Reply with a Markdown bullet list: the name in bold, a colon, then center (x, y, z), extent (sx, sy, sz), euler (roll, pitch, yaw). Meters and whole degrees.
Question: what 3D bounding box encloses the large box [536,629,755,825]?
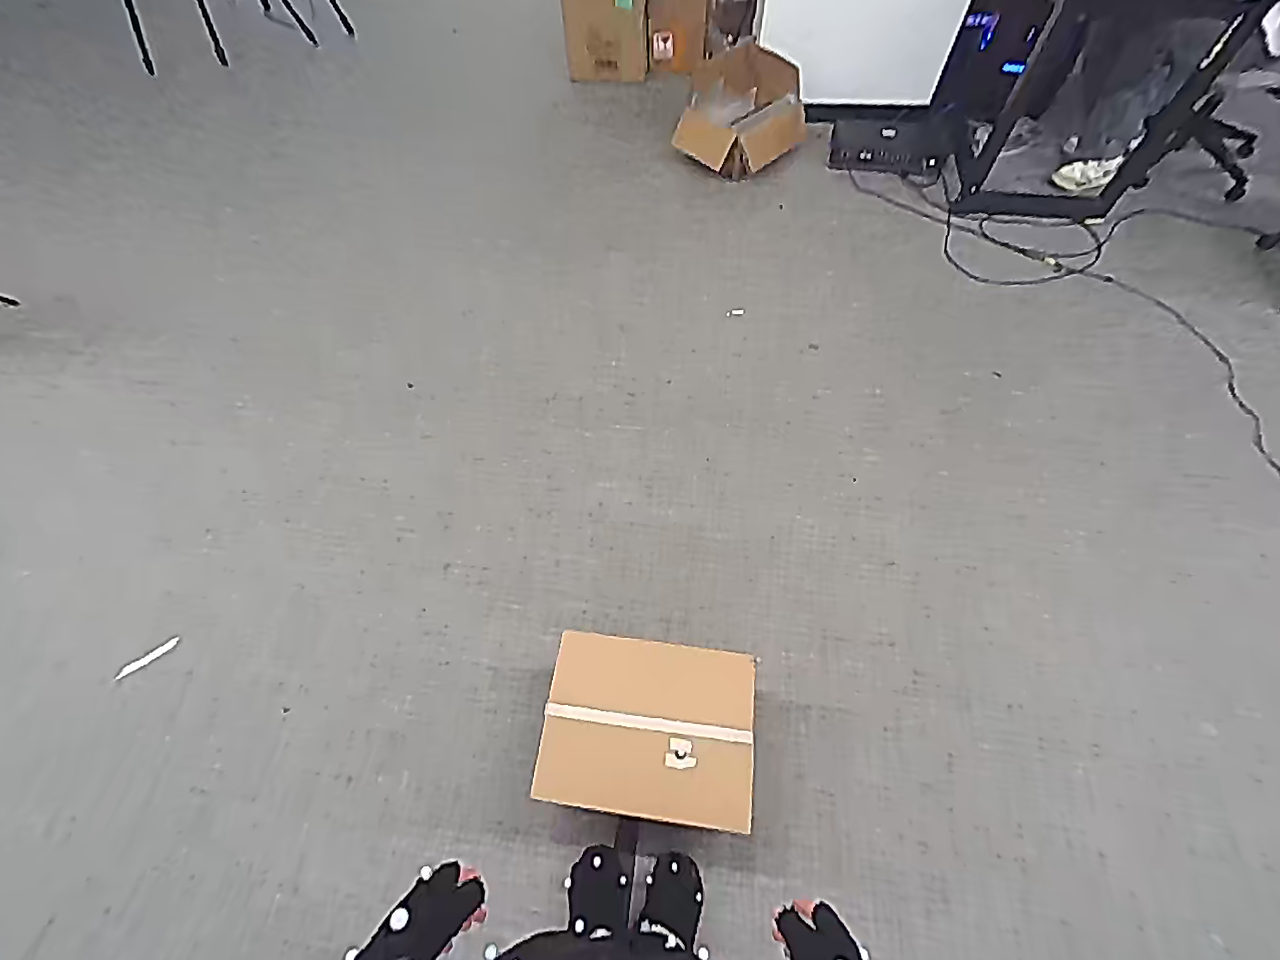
- **large box**: center (0.020, 0.539, 1.178), extent (0.408, 0.320, 0.320), euler (7, 62, 4)
